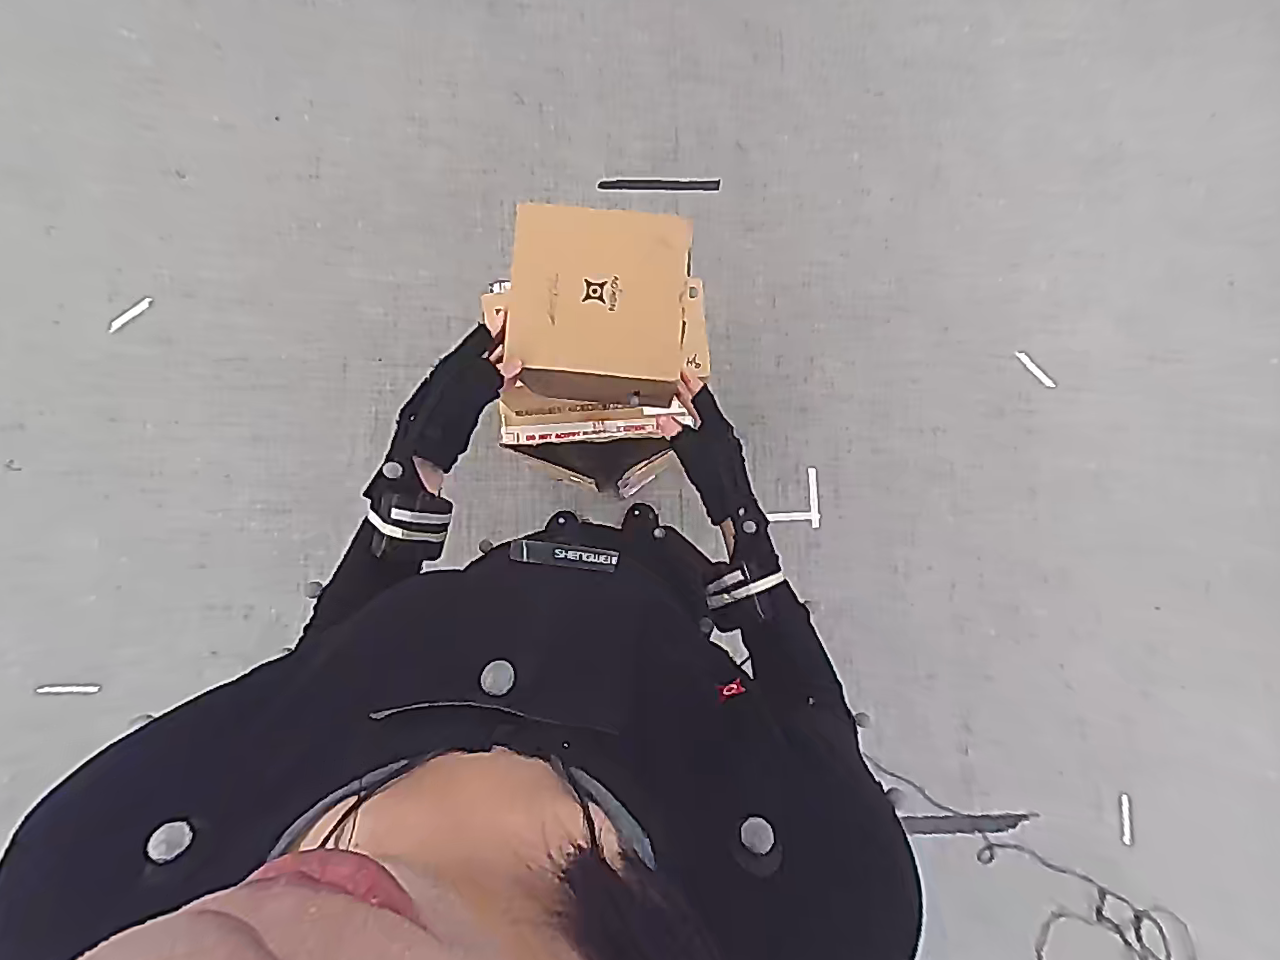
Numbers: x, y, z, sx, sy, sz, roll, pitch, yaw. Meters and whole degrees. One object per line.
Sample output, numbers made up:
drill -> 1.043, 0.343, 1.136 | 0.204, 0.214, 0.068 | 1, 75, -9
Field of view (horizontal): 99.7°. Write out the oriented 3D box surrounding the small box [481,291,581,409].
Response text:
small box -> -0.173, -0.229, 0.972 | 0.179, 0.176, 0.168 | -7, 85, -3

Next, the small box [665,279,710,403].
small box -> 0.025, -0.246, 0.985 | 0.168, 0.176, 0.179 | -3, 84, -5

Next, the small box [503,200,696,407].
small box -> -0.039, -0.179, 0.600 | 0.179, 0.176, 0.168 | 5, 87, 0
